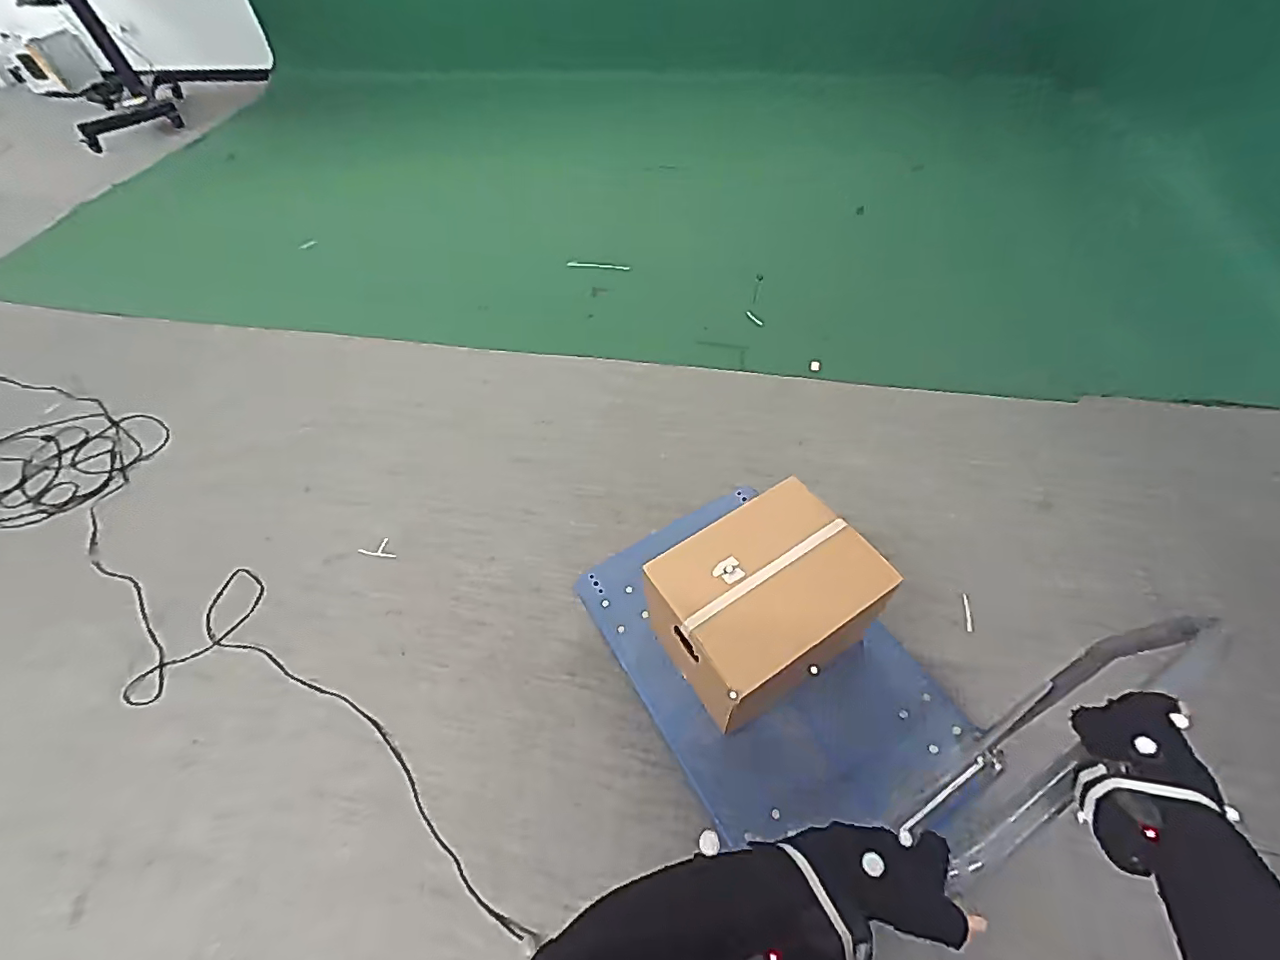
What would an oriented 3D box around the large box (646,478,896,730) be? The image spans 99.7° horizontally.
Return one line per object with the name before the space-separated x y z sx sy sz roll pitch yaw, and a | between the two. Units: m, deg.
large box | 0.266 0.274 1.193 0.408 0.320 0.320 -30 57 -16
